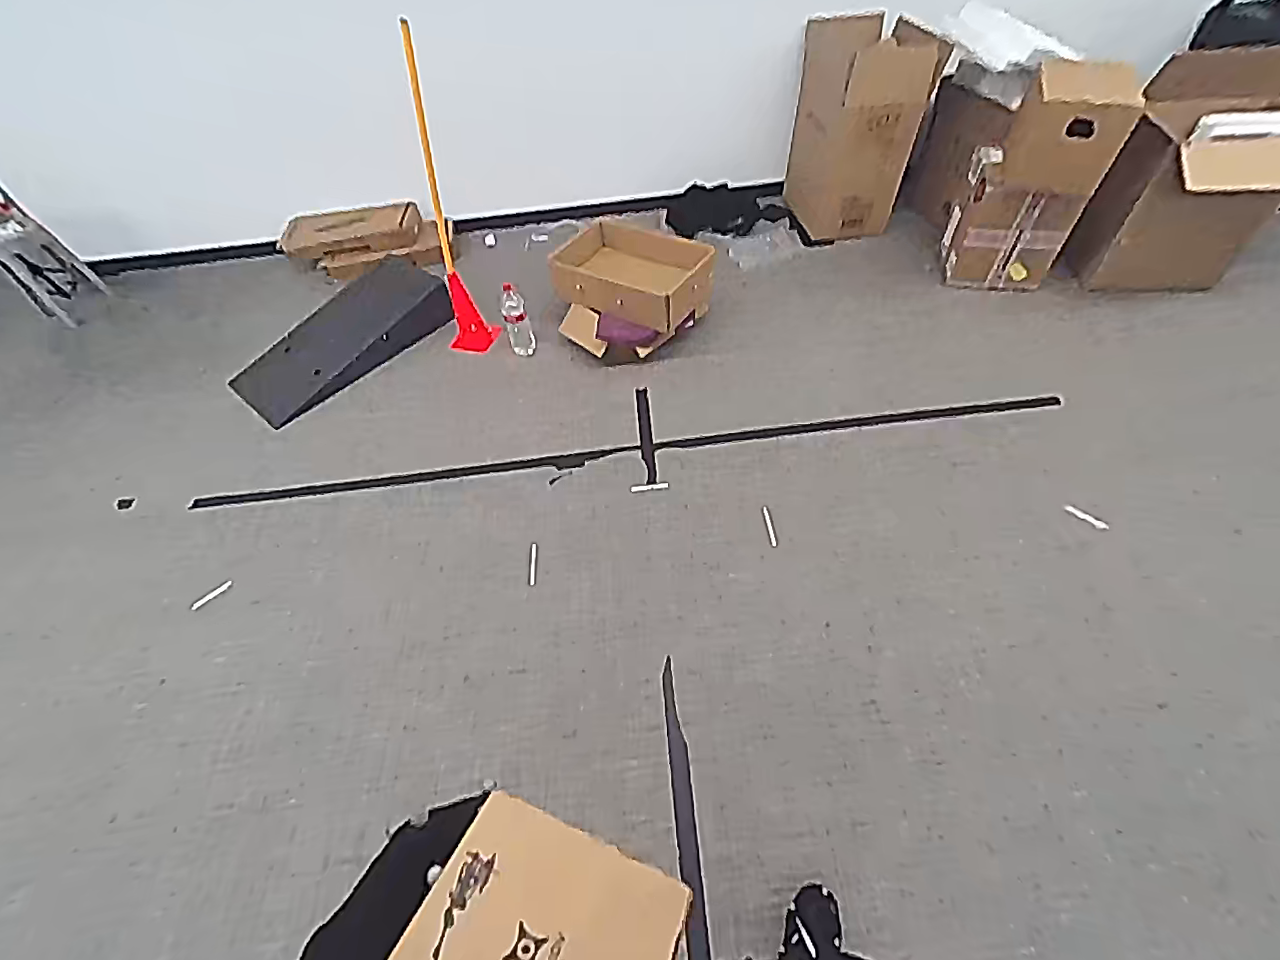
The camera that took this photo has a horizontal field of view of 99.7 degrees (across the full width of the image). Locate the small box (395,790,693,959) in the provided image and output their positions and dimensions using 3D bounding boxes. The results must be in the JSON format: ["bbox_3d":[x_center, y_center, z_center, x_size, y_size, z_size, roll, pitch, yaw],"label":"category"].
[{"bbox_3d":[-0.080,0.388,0.410,0.179,0.176,0.168,19,33,12],"label":"small box"}]
